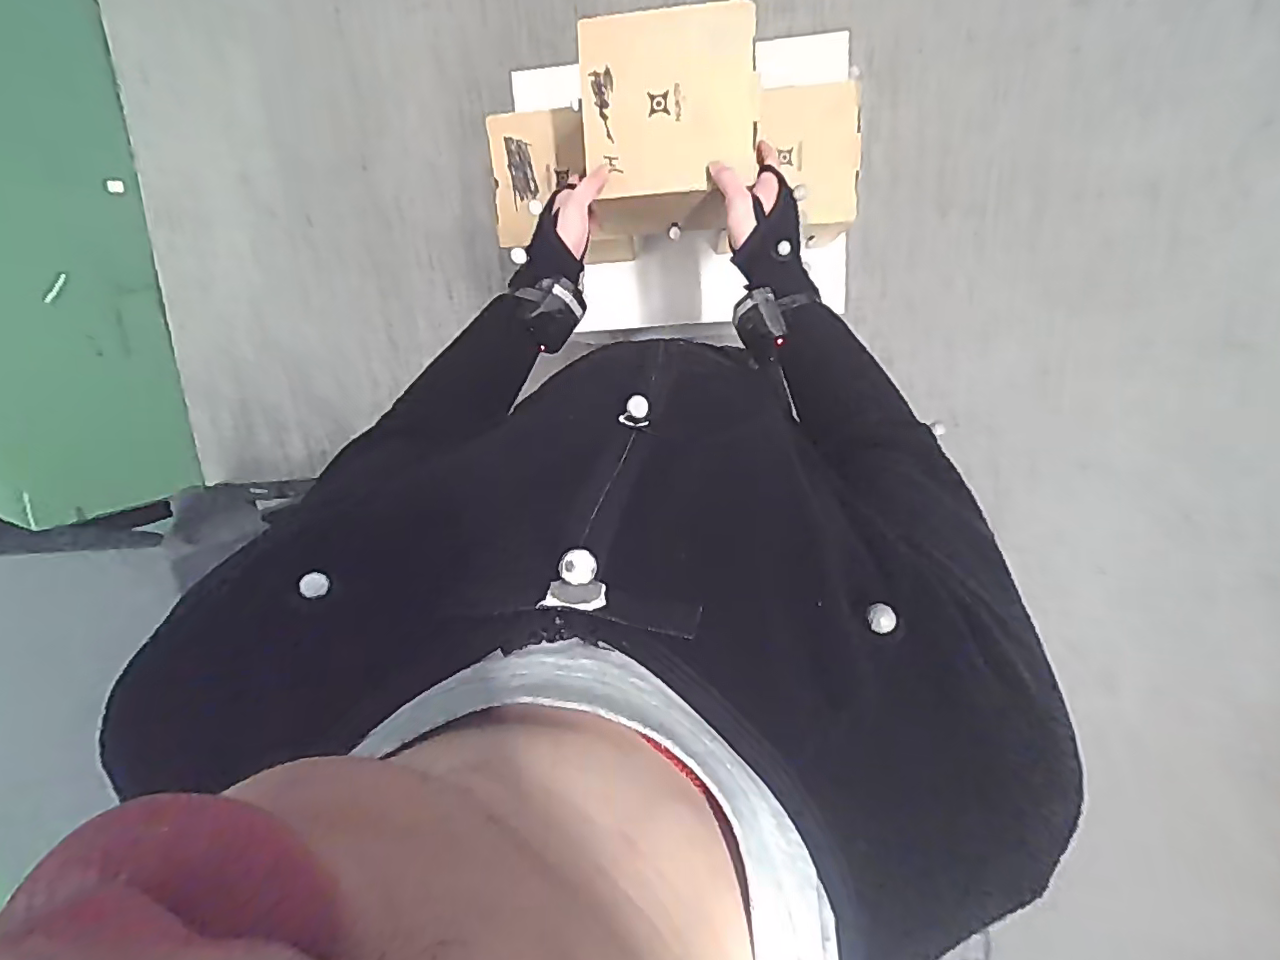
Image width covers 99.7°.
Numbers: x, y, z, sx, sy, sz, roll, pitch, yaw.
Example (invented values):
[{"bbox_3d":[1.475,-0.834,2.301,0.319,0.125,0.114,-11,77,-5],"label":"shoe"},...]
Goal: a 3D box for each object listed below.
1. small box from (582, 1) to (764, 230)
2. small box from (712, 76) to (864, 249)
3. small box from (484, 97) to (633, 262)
[{"bbox_3d":[0.035,-0.389,0.608,0.179,0.176,0.168,-2,102,3],"label":"small box"},{"bbox_3d":[0.194,-0.428,0.756,0.179,0.176,0.168,-1,103,6],"label":"small box"},{"bbox_3d":[-0.106,-0.417,0.777,0.179,0.176,0.168,-3,103,3],"label":"small box"}]
